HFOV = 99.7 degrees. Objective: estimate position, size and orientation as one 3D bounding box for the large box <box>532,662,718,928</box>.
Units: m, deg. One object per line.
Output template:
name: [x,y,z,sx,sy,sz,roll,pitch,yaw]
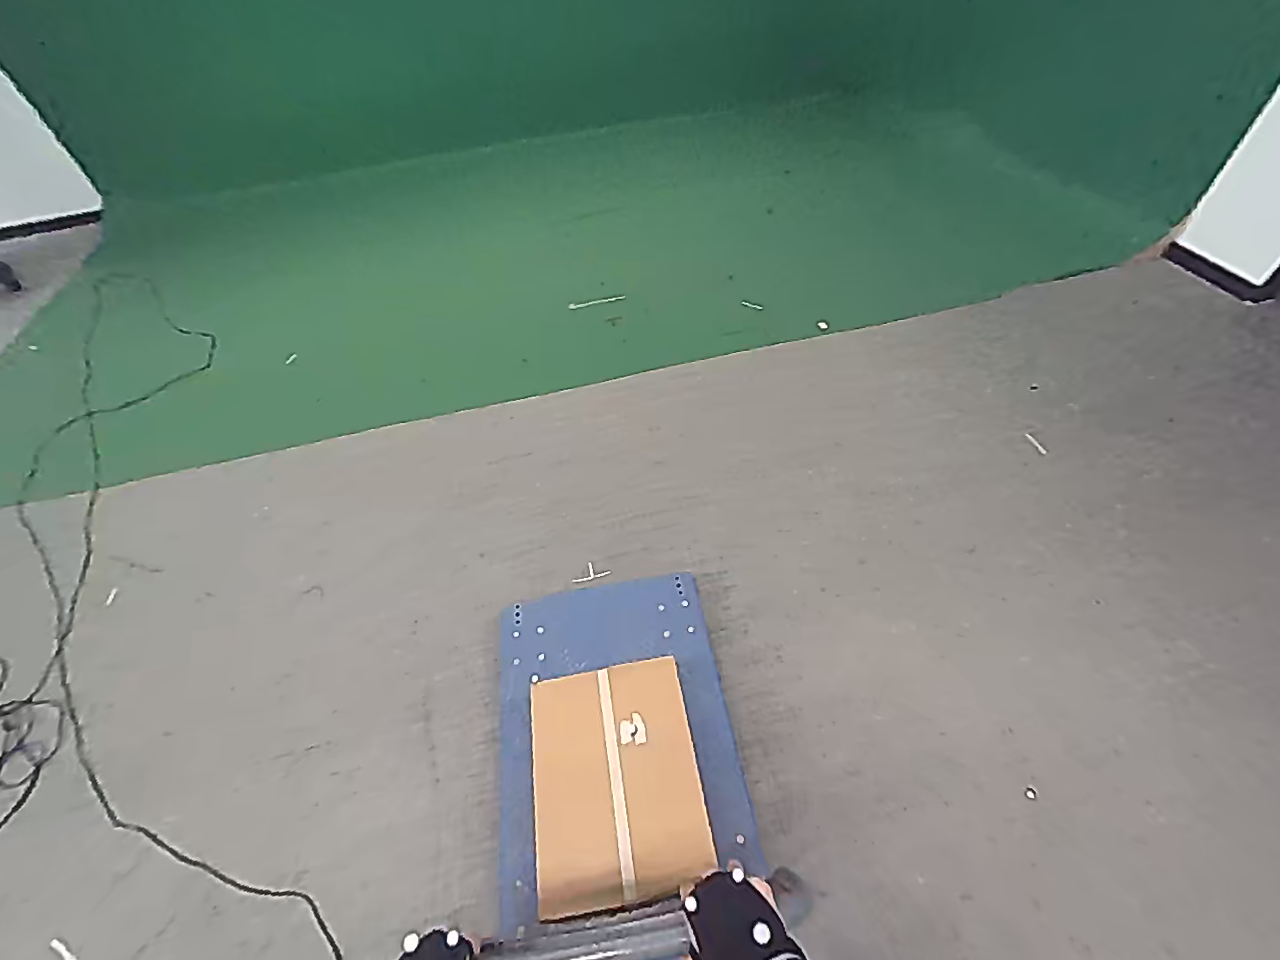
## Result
large box: [-0.034,0.664,1.150,0.320,0.320,0.408,-10,49,-3]
